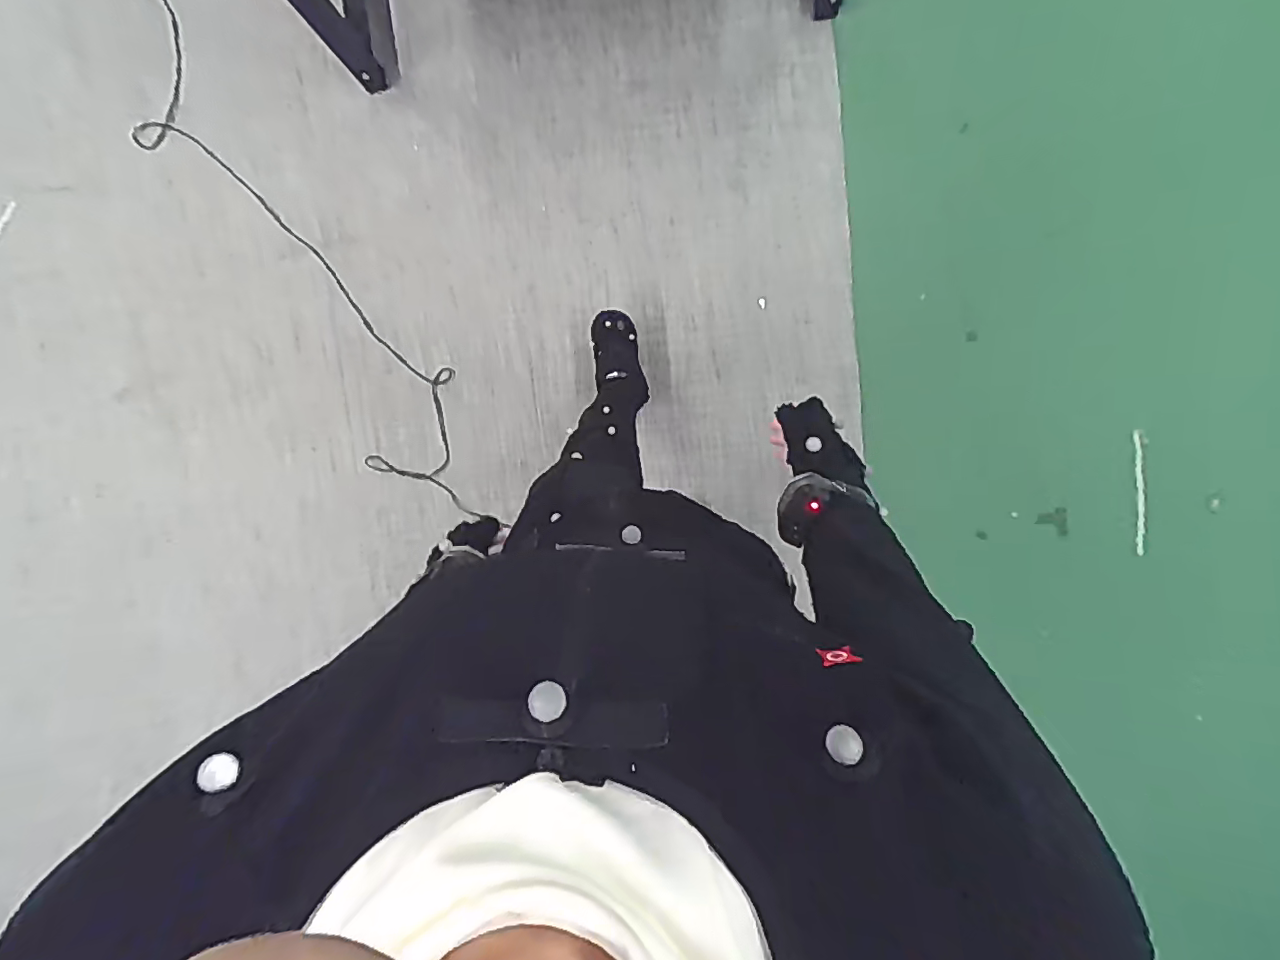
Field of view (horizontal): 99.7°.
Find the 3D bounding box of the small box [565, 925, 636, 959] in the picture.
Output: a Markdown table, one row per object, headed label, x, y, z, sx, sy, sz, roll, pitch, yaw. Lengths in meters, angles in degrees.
| label | x | y | z | sx | sy | sz | roll | pitch | yaw |
| --- | --- | --- | --- | --- | --- | --- | --- | --- | --- |
| small box | -0.104 | 1.326 | 1.427 | 0.179 | 0.176 | 0.168 | -7 | 96 | 3 |
